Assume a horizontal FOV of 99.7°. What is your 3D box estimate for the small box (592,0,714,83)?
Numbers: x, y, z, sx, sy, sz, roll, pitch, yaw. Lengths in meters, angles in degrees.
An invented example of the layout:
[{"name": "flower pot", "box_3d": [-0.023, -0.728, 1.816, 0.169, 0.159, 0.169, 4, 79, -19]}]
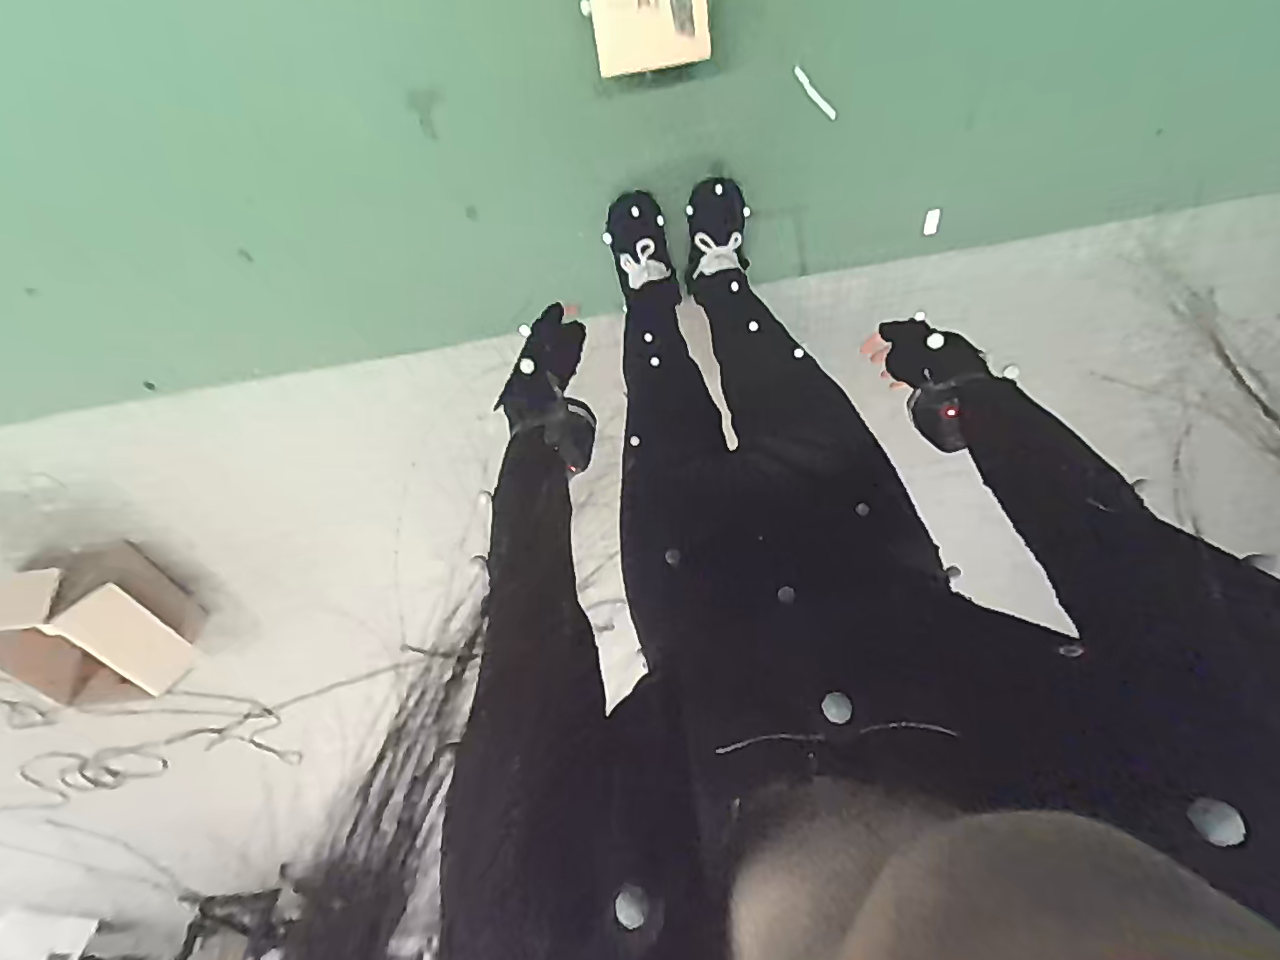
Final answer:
[{"name": "small box", "box_3d": [0.015, -0.744, 0.848, 0.179, 0.176, 0.168, -8, 130, 4]}]
